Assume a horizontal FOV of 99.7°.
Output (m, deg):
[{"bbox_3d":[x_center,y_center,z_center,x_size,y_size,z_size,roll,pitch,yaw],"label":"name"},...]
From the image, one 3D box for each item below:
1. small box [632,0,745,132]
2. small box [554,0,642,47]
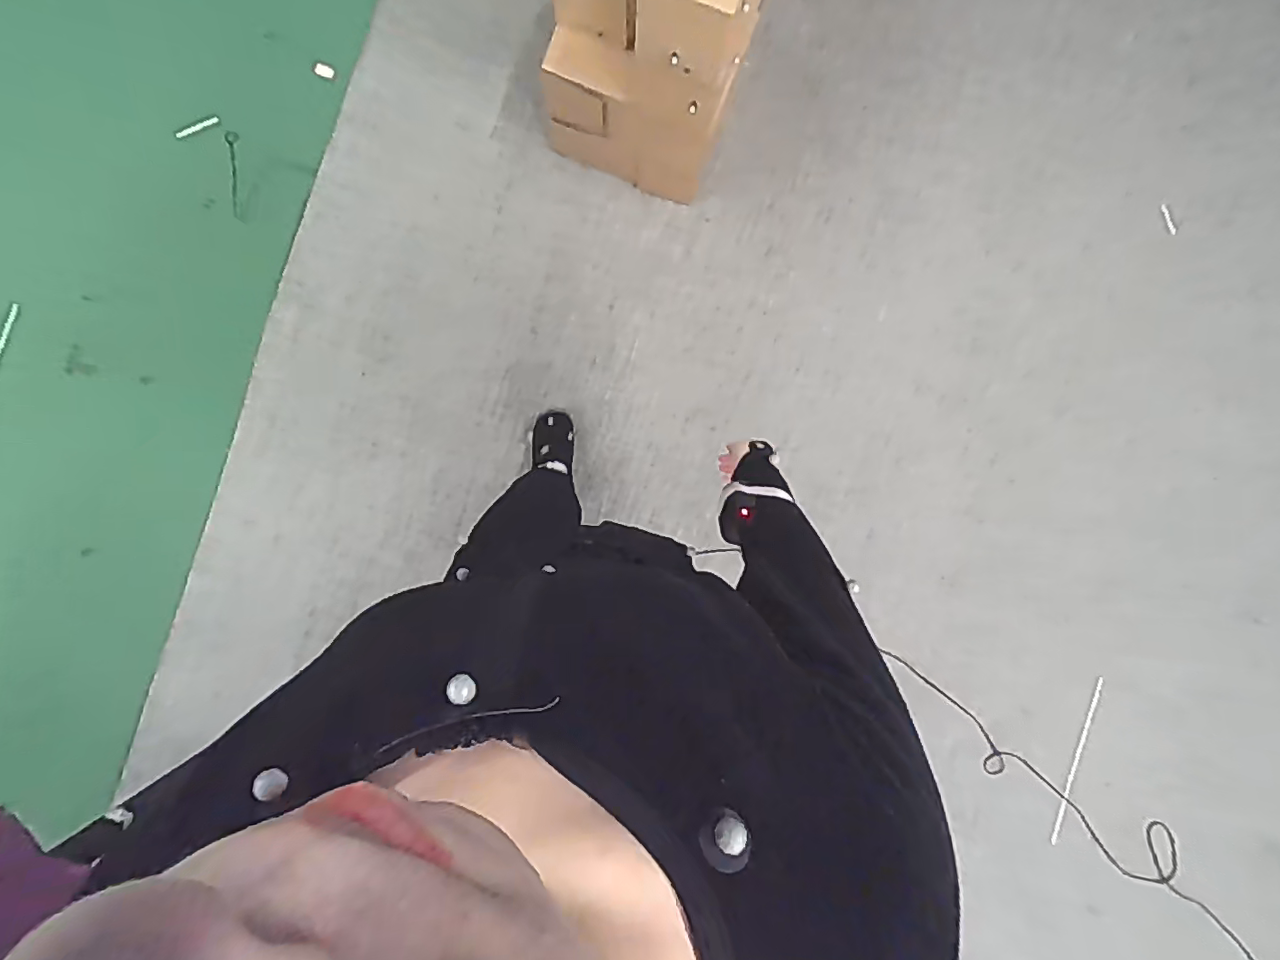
[{"bbox_3d":[0.091,-0.857,1.105,0.179,0.176,0.168,18,88,-2],"label":"small box"},{"bbox_3d":[-0.080,-1.053,1.102,0.168,0.176,0.179,20,88,-1],"label":"small box"}]
